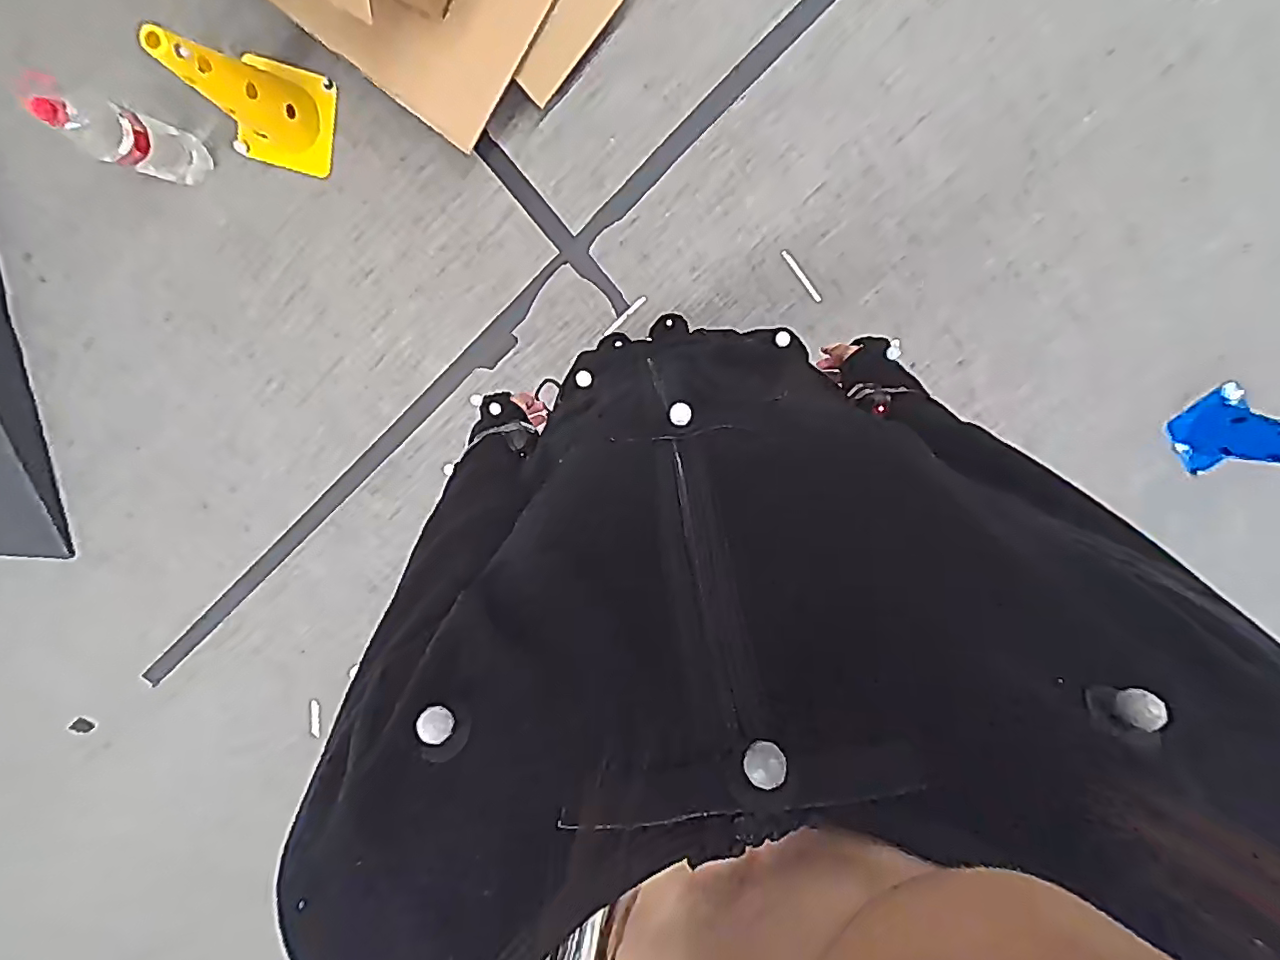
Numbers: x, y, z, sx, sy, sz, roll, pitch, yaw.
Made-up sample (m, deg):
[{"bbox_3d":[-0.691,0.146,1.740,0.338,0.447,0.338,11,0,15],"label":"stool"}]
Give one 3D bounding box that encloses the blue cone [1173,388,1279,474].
[{"bbox_3d":[1.556,-0.082,1.304,0.193,0.380,0.192,-37,105,9],"label":"blue cone"}]
